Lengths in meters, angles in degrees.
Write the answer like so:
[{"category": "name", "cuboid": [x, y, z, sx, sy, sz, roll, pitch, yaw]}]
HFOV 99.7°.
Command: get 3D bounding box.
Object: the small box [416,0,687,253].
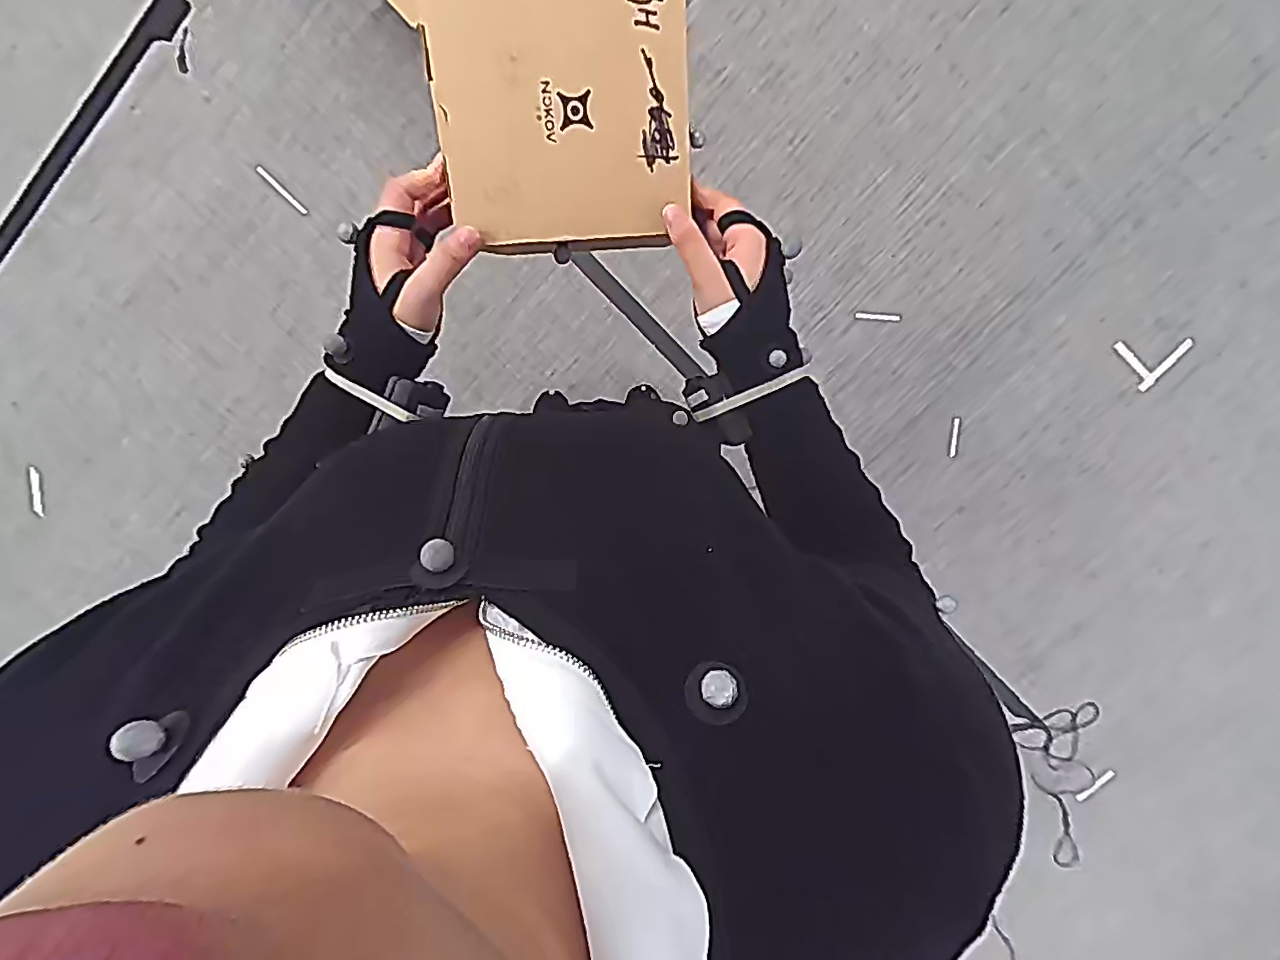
[{"category": "small box", "cuboid": [-0.057, -0.284, 0.446, 0.179, 0.176, 0.168, -4, 111, 0]}]
